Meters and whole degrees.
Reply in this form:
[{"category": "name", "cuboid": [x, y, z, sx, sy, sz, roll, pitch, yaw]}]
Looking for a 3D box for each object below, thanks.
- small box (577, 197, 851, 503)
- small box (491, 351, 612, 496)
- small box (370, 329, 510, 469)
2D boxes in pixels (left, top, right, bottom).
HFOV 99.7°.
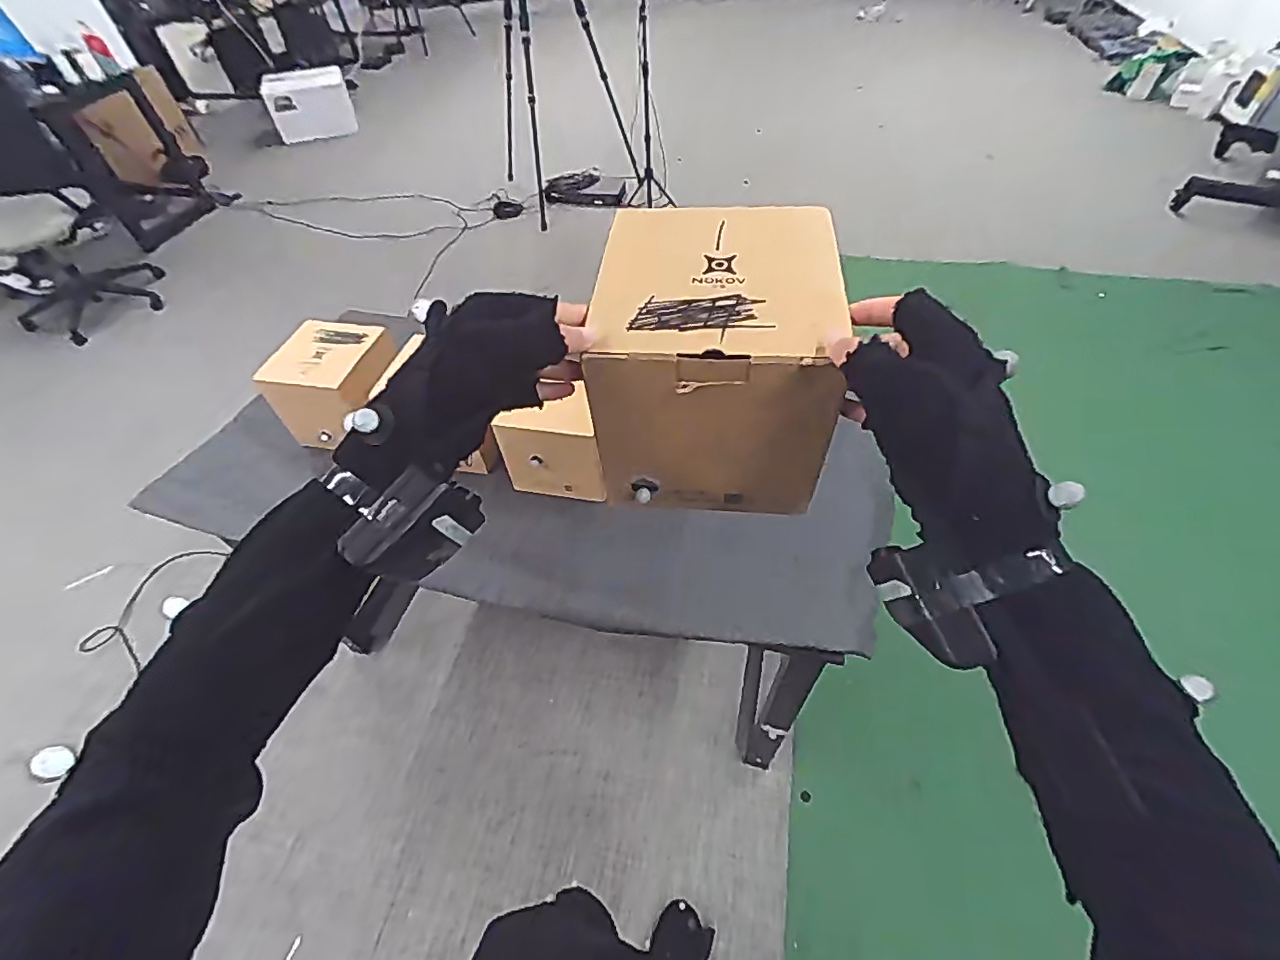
[{"category": "small box", "cuboid": [0.058, -0.098, 0.430, 0.168, 0.176, 0.179, 3, 53, 7]}, {"category": "small box", "cuboid": [-0.127, -0.093, 0.918, 0.168, 0.176, 0.179, 7, 51, 10]}, {"category": "small box", "cuboid": [-0.339, -0.145, 0.970, 0.168, 0.176, 0.179, 7, 51, 9]}]
